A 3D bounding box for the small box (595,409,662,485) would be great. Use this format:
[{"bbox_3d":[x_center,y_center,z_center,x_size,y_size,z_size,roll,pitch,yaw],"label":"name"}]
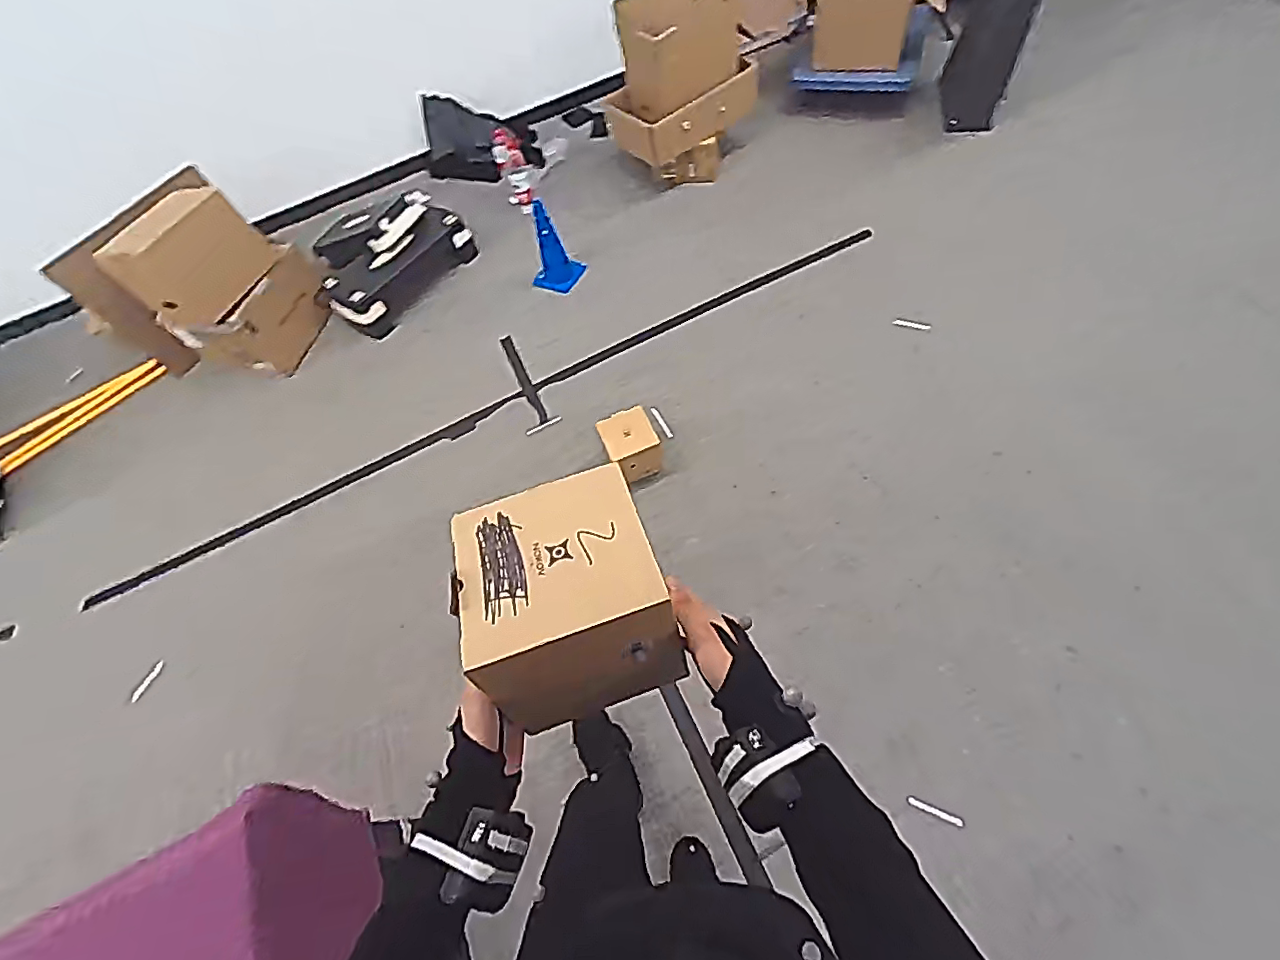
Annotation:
[{"bbox_3d":[-0.035,-0.103,1.830,0.168,0.176,0.179,-23,58,-5],"label":"small box"}]
